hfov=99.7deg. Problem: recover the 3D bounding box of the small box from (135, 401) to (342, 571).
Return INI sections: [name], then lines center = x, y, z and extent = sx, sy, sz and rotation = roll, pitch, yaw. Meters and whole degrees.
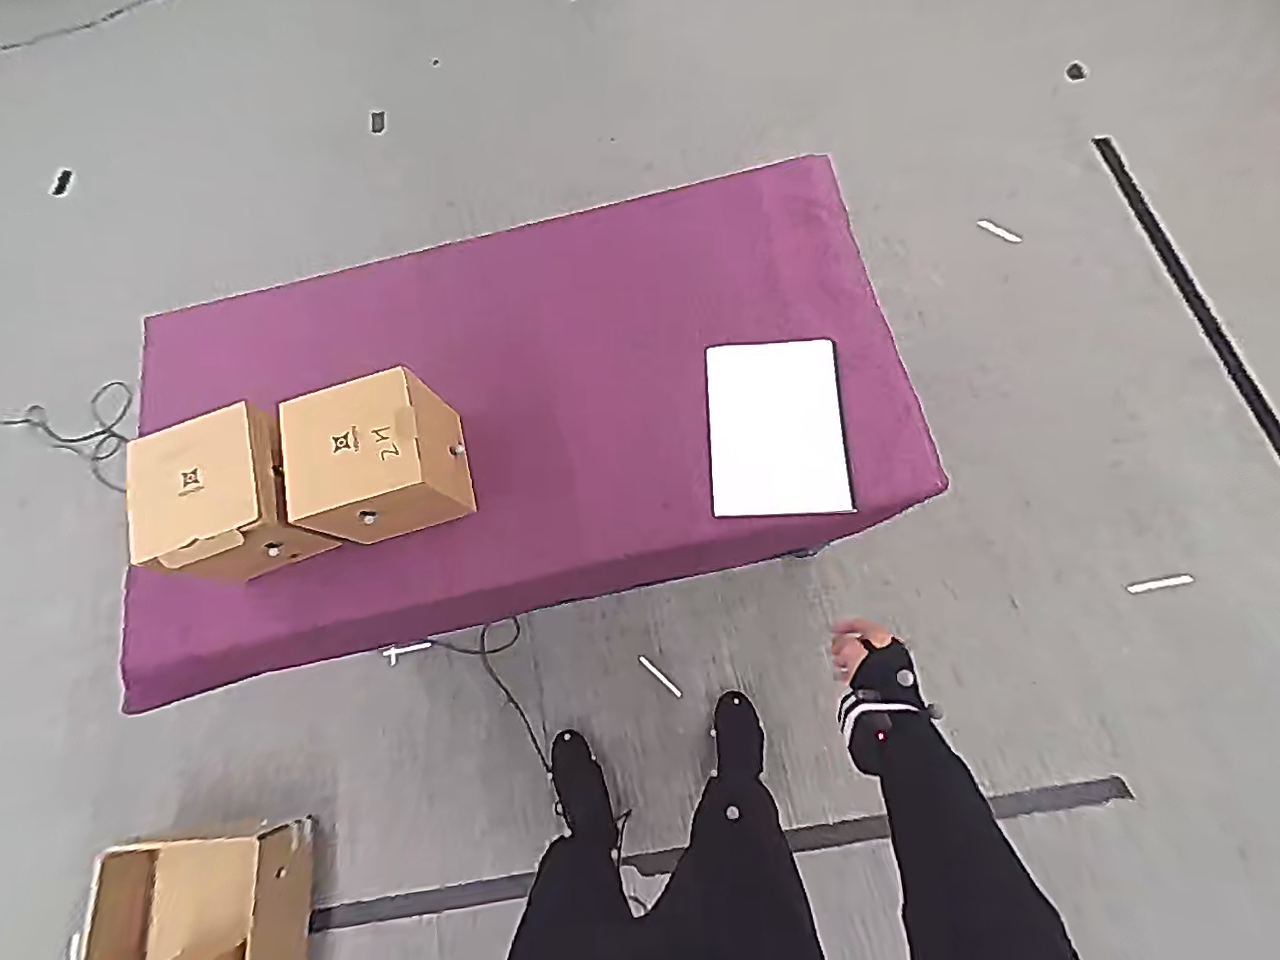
[small box]
center = -0.550, 0.021, 0.761
extent = 0.168, 0.176, 0.179
rotation = -19, 72, 0
